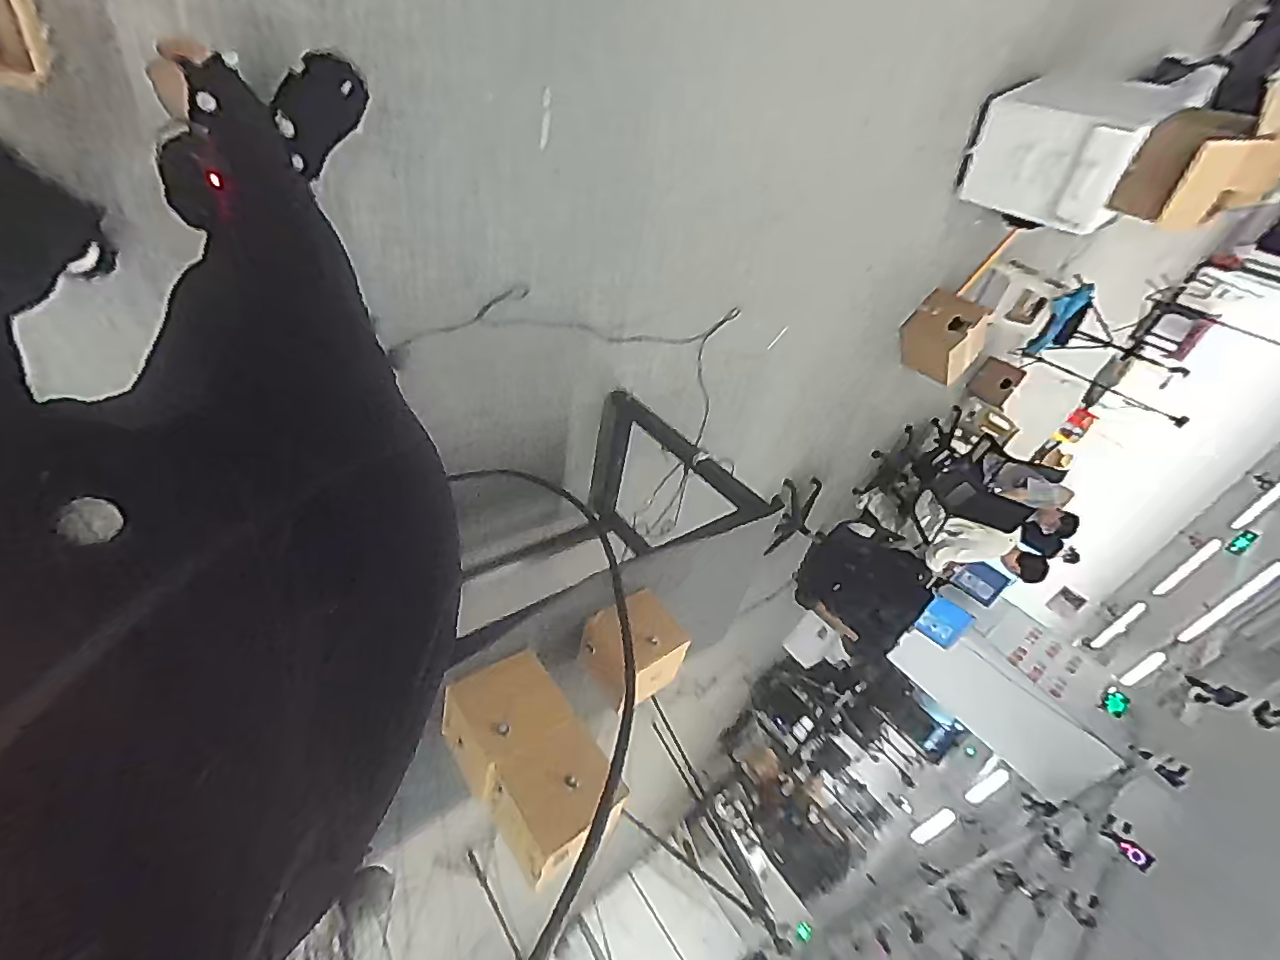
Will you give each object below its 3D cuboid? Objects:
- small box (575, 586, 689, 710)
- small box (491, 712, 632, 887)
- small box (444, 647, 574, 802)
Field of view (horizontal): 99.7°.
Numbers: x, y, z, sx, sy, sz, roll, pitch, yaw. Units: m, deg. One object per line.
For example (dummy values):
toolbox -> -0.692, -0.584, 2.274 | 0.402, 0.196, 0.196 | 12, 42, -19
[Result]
small box -> -0.022, 0.372, 1.224 | 0.179, 0.176, 0.168 | -20, 139, -35
small box -> -0.146, 0.558, 0.962 | 0.179, 0.176, 0.168 | -19, 140, -40
small box -> -0.257, 0.456, 1.031 | 0.179, 0.176, 0.168 | -17, 139, -41
